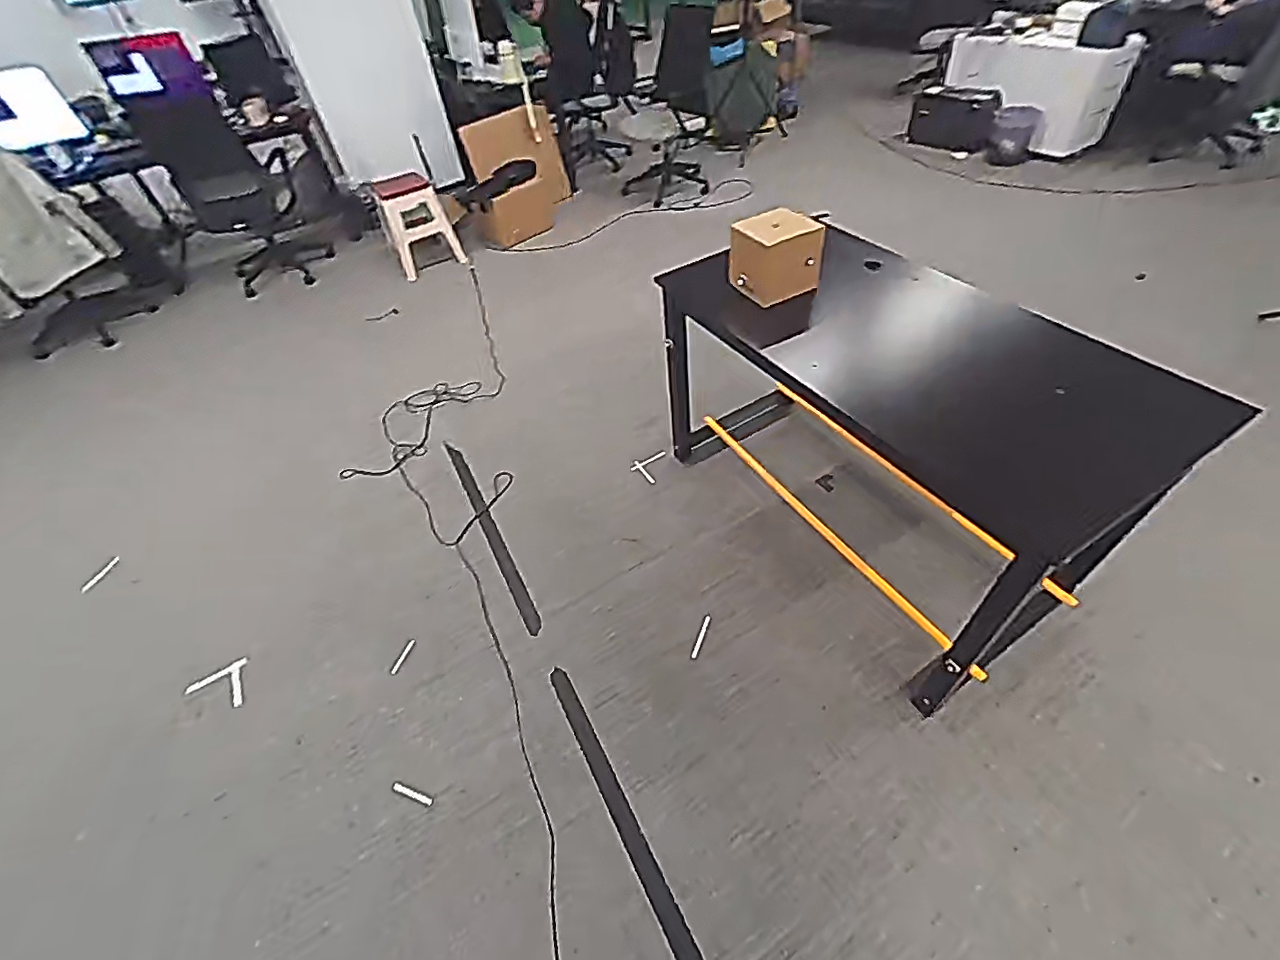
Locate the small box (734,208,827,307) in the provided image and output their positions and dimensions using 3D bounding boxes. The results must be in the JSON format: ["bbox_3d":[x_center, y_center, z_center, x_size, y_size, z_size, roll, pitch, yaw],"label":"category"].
[{"bbox_3d":[0.360,-0.584,1.422,0.179,0.176,0.168,-25,49,-14],"label":"small box"}]
